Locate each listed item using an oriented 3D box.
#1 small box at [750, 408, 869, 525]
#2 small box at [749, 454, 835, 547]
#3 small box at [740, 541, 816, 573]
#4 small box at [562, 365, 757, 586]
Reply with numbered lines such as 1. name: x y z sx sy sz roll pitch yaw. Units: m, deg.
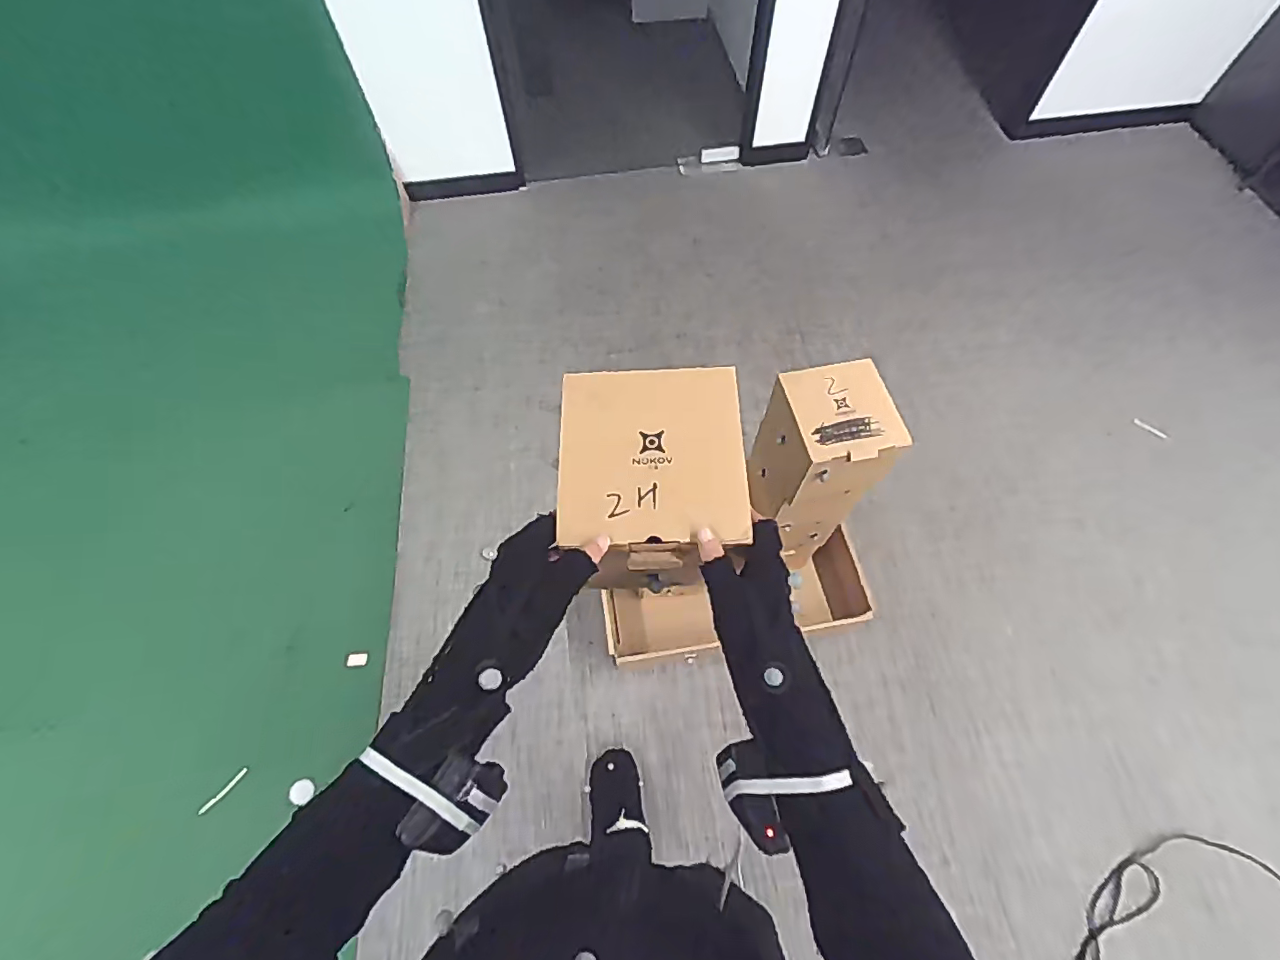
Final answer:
1. small box: 0.330 -0.018 1.089 0.168 0.176 0.179 -8 63 -3
2. small box: 0.335 0.042 1.223 0.168 0.176 0.179 -9 63 -3
3. small box: 0.326 0.128 1.383 0.168 0.176 0.179 -13 63 -4
4. small box: 0.018 0.003 0.555 0.168 0.176 0.179 -2 67 2
